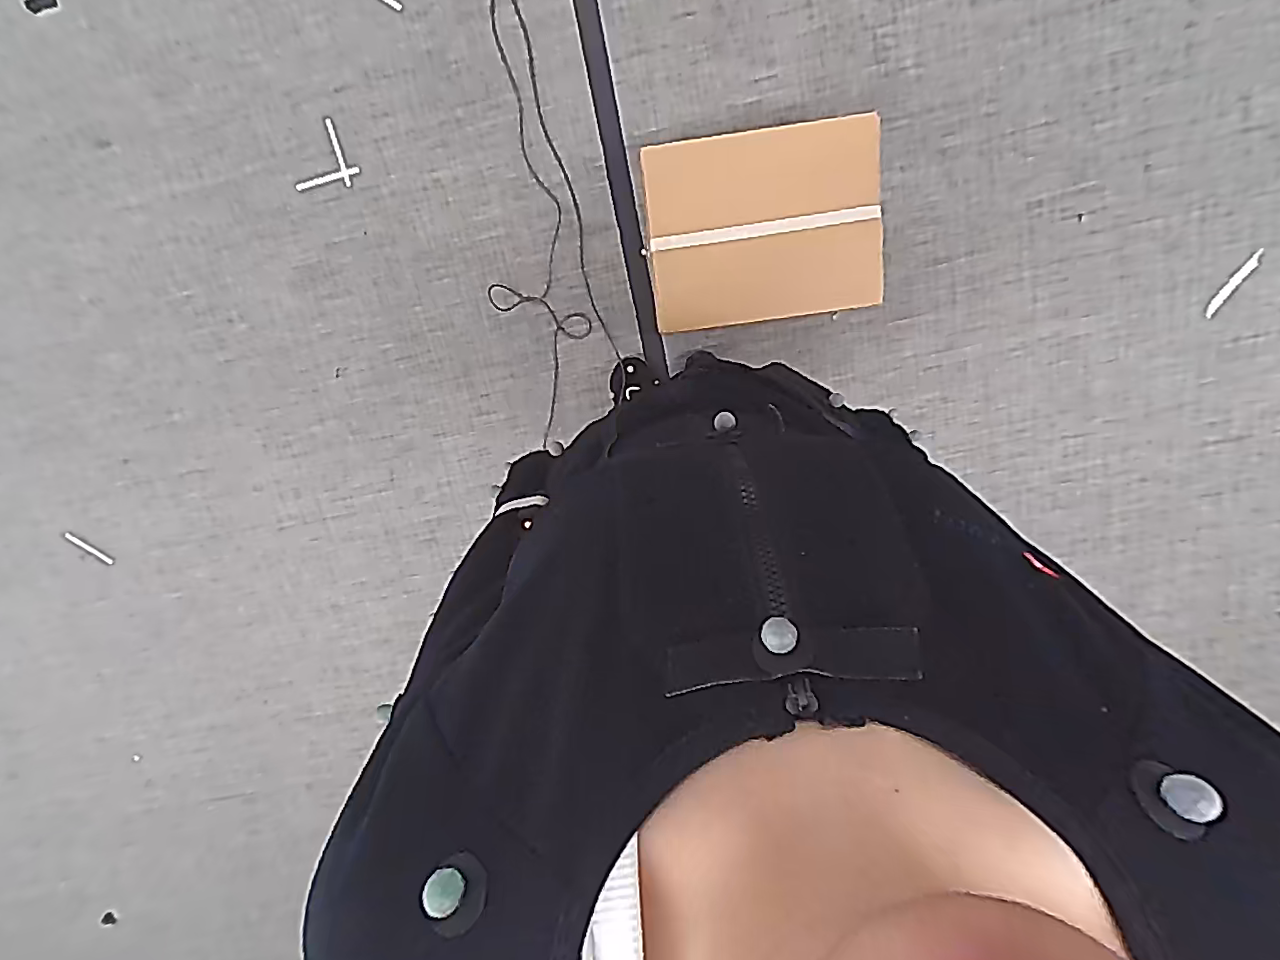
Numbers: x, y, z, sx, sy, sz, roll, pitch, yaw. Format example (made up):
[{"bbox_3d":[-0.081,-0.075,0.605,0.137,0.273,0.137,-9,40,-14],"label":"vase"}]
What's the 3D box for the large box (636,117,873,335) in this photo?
[{"bbox_3d":[0.214,-0.481,1.103,0.408,0.320,0.320,-7,104,3],"label":"large box"}]
